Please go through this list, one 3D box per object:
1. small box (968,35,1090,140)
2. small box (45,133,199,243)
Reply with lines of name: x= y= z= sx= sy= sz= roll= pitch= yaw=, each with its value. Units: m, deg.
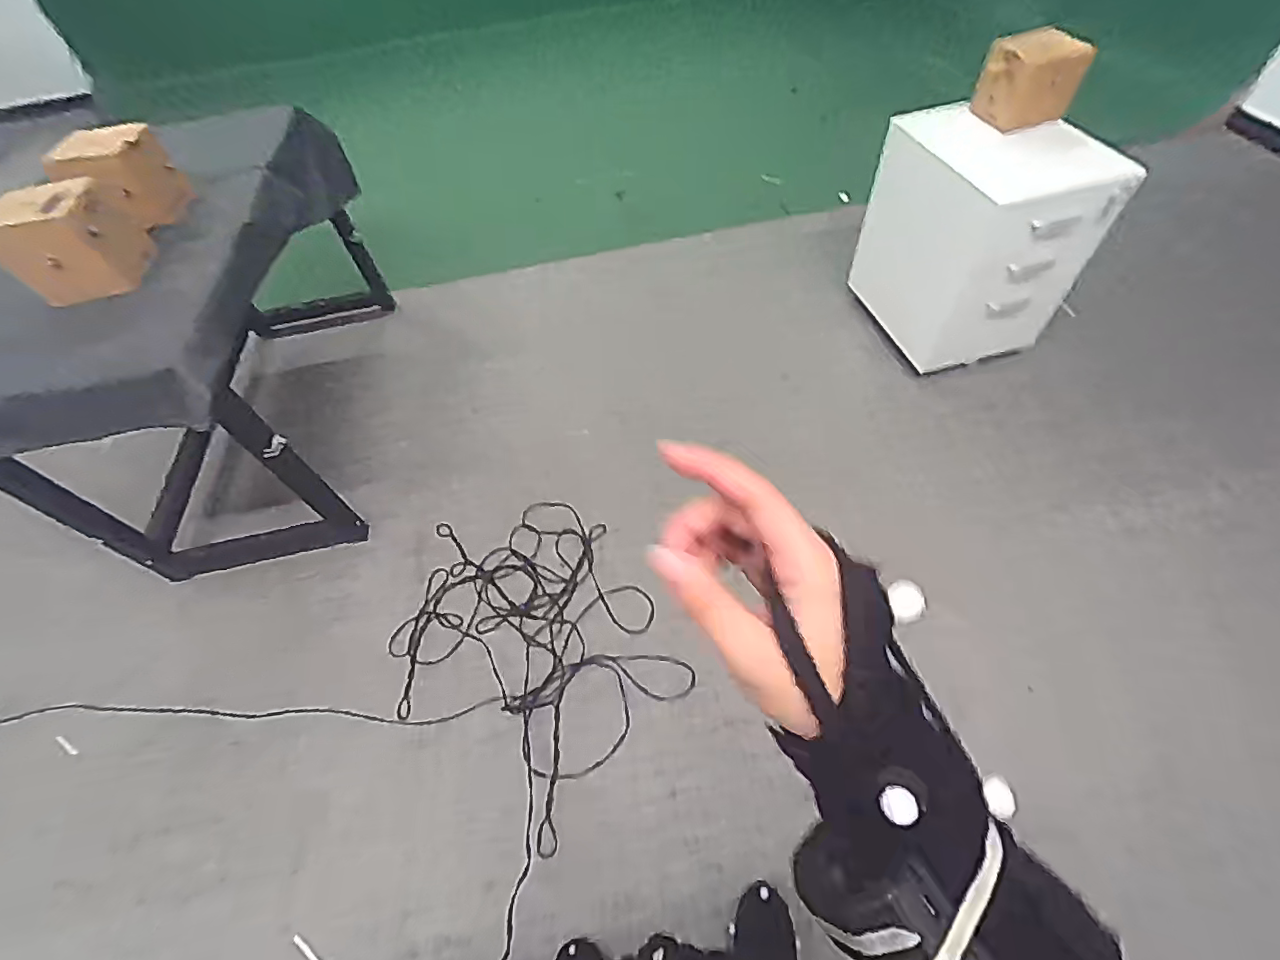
small box: x=1.042 y=-1.061 z=1.466 sx=0.179 sy=0.176 sz=0.168 roll=-16 pitch=56 yaw=-4
small box: x=-1.223 y=-0.695 z=1.295 sx=0.179 sy=0.176 sz=0.168 roll=-8 pitch=53 yaw=2
